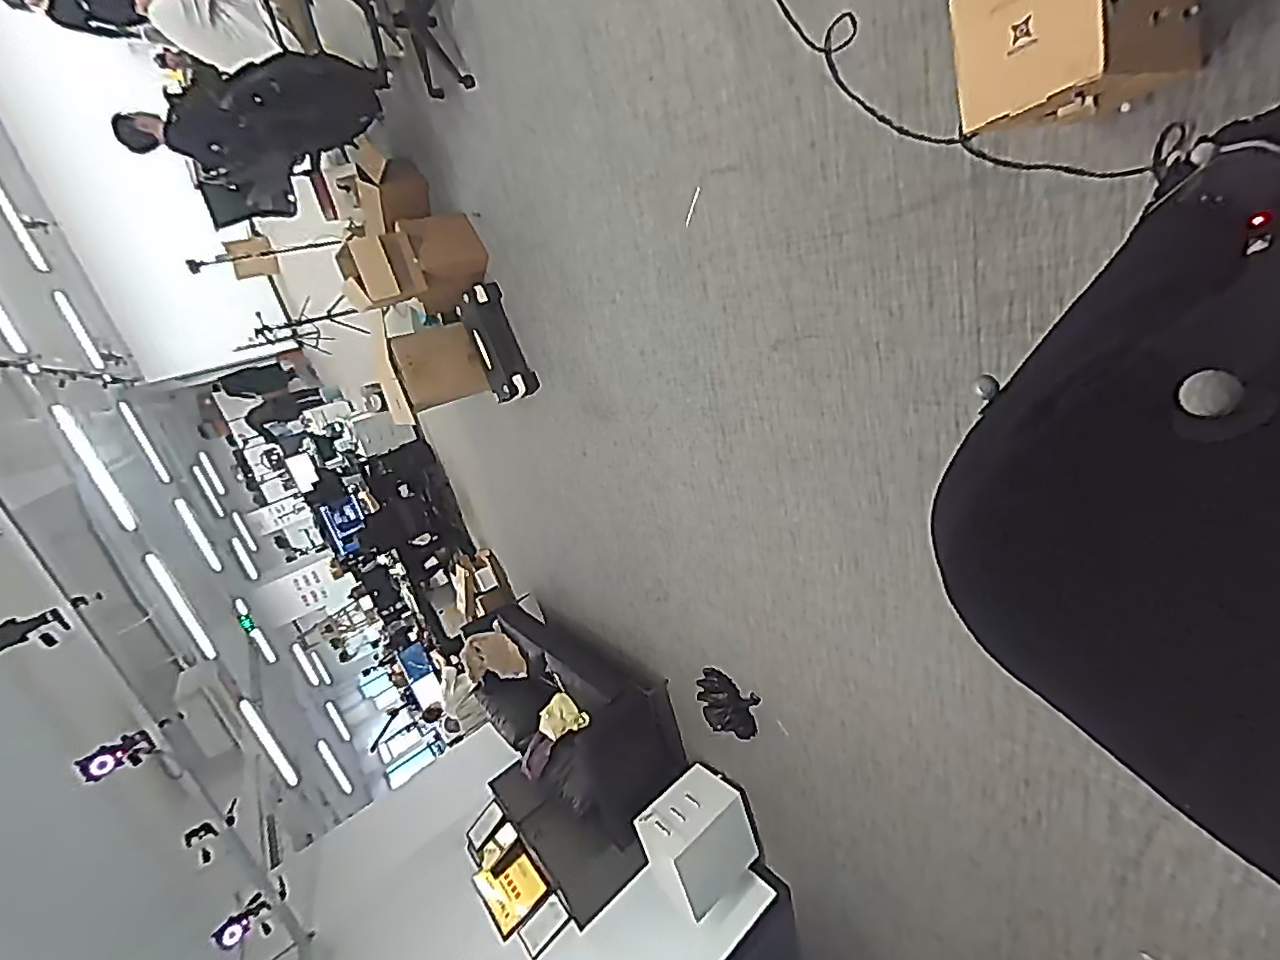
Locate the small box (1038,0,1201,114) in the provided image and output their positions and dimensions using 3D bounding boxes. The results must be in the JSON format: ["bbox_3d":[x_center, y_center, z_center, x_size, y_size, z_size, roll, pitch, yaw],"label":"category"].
[{"bbox_3d":[0.802,-0.749,0.905,0.168,0.176,0.179,1,115,56],"label":"small box"}]
